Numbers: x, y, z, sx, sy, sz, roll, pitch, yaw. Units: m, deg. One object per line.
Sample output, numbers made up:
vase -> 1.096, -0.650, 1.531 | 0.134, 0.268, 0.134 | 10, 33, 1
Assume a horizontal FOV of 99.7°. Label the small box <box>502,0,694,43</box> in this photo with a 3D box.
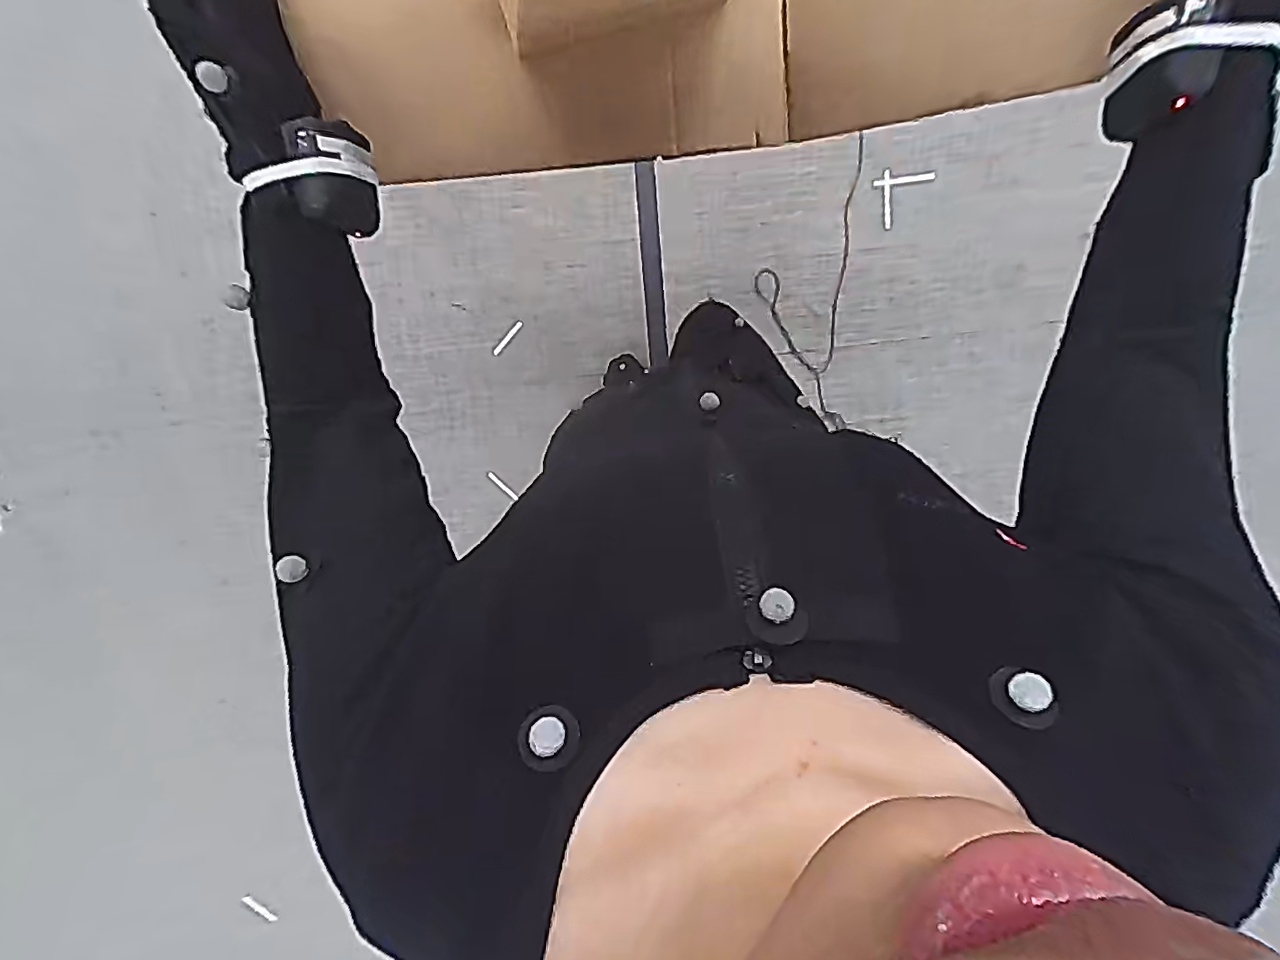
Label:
small box -> -0.016, -0.398, 0.313 | 0.179, 0.176, 0.168 | -19, 113, -4
